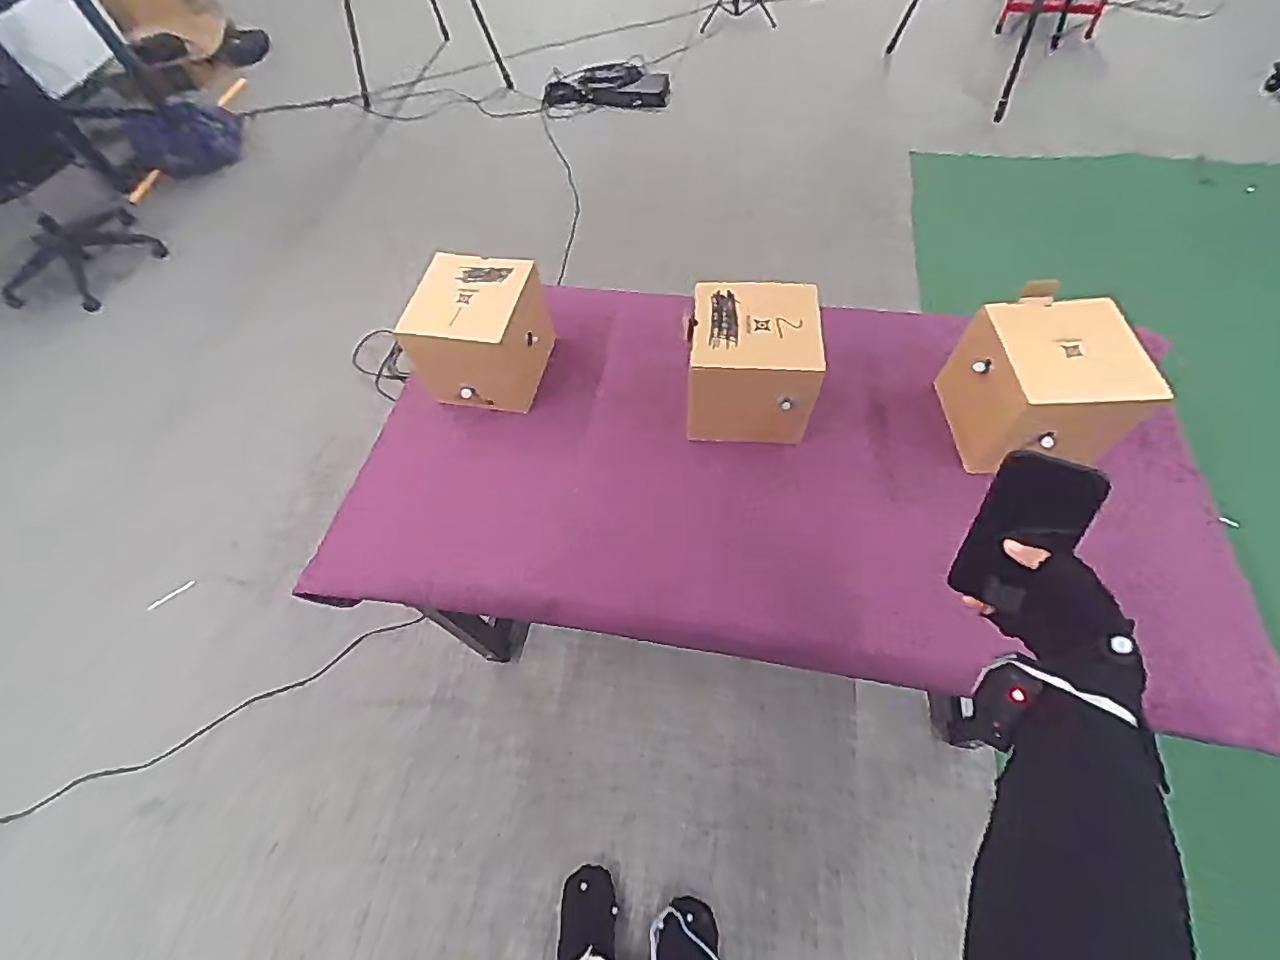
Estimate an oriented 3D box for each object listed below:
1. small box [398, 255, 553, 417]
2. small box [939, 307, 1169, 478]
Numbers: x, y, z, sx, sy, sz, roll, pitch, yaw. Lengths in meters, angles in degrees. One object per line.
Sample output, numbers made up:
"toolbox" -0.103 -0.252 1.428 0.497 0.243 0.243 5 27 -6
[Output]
"small box" -0.248 -0.229 0.871 0.168 0.176 0.179 9 62 9
"small box" 0.548 -0.112 0.750 0.168 0.176 0.179 -2 58 4
